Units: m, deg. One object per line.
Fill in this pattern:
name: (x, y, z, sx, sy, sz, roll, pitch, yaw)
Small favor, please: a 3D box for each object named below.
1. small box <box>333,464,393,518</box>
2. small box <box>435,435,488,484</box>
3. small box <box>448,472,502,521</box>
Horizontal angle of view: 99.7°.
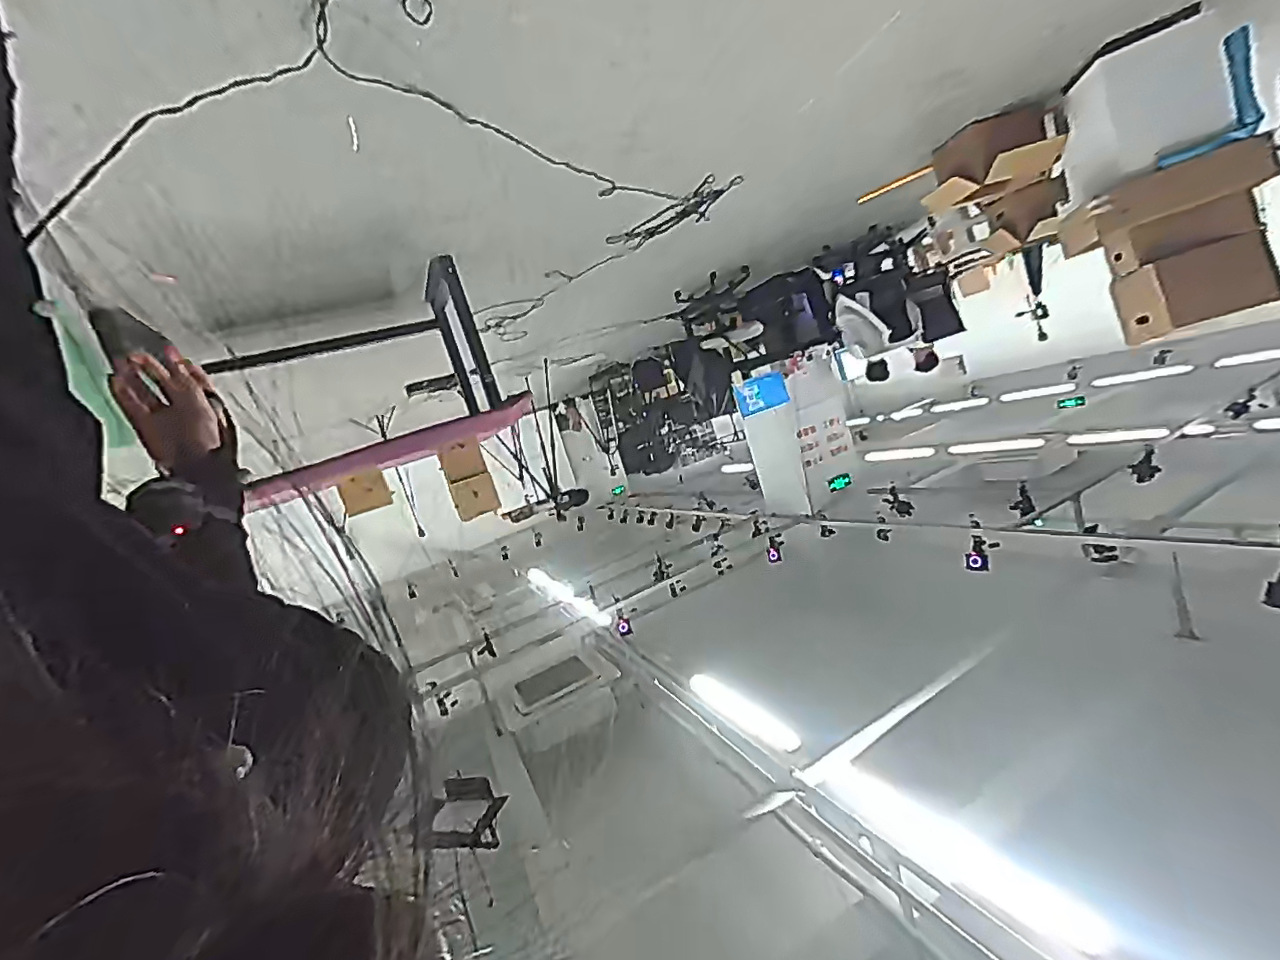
small box: (-1.101, 0.038, 2.155, 0.168, 0.176, 0.179, -21, -172, -22)
small box: (-0.769, -0.088, 2.314, 0.168, 0.176, 0.179, -21, -174, -22)
small box: (-0.714, 0.066, 2.321, 0.168, 0.176, 0.179, -21, -174, -24)
